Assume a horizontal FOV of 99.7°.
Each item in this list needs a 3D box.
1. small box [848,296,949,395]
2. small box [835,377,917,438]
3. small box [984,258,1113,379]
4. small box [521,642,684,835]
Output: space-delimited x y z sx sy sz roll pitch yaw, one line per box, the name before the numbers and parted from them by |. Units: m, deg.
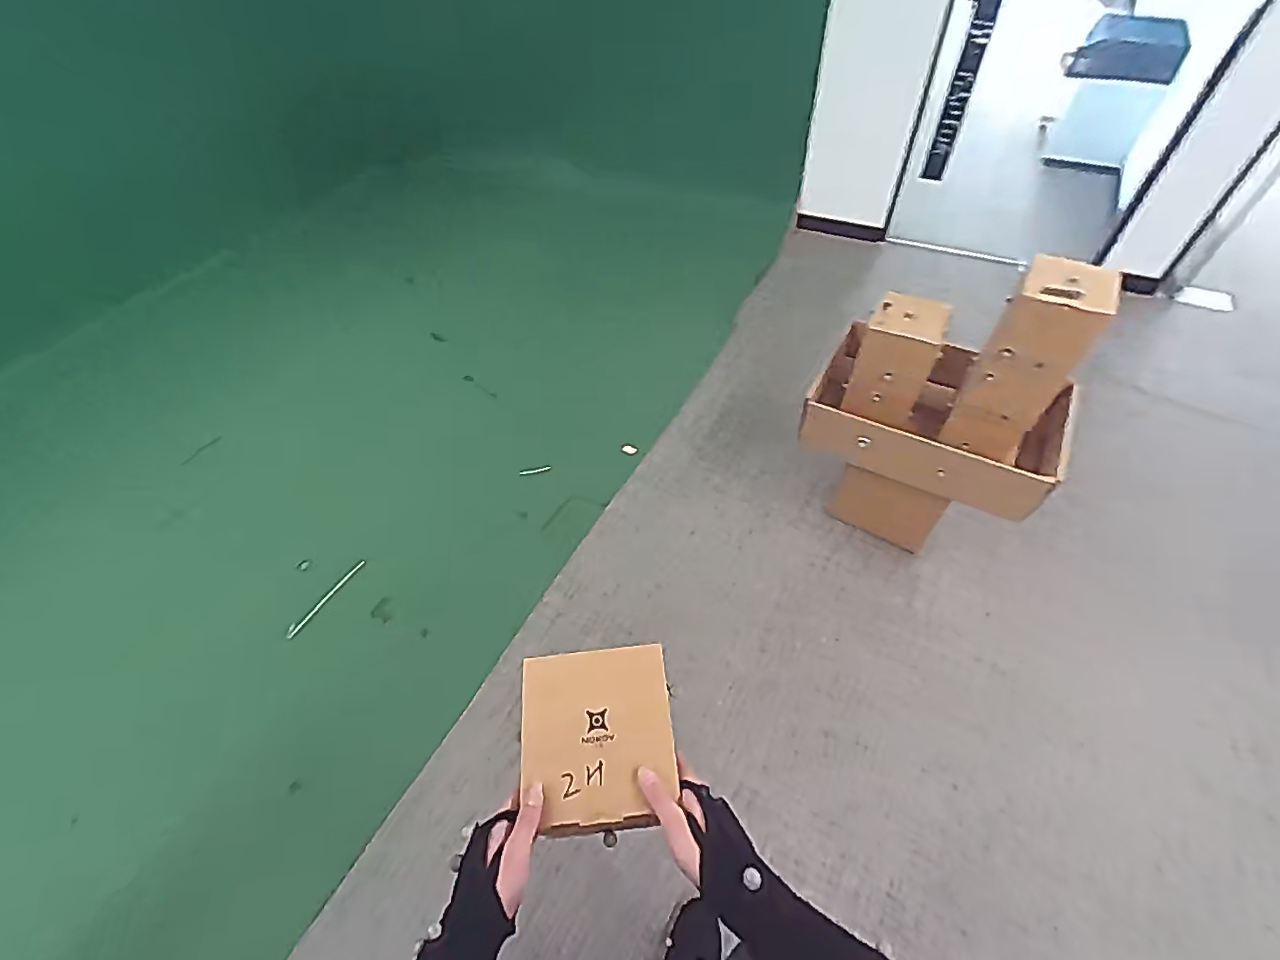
small box | 0.666 -0.344 1.404 0.179 0.176 0.168 21 57 19
small box | 0.676 -0.246 1.535 0.179 0.176 0.168 23 58 19
small box | 0.885 -0.351 1.184 0.168 0.176 0.179 24 57 20
small box | -0.041 0.314 0.652 0.168 0.176 0.179 -5 54 -1
